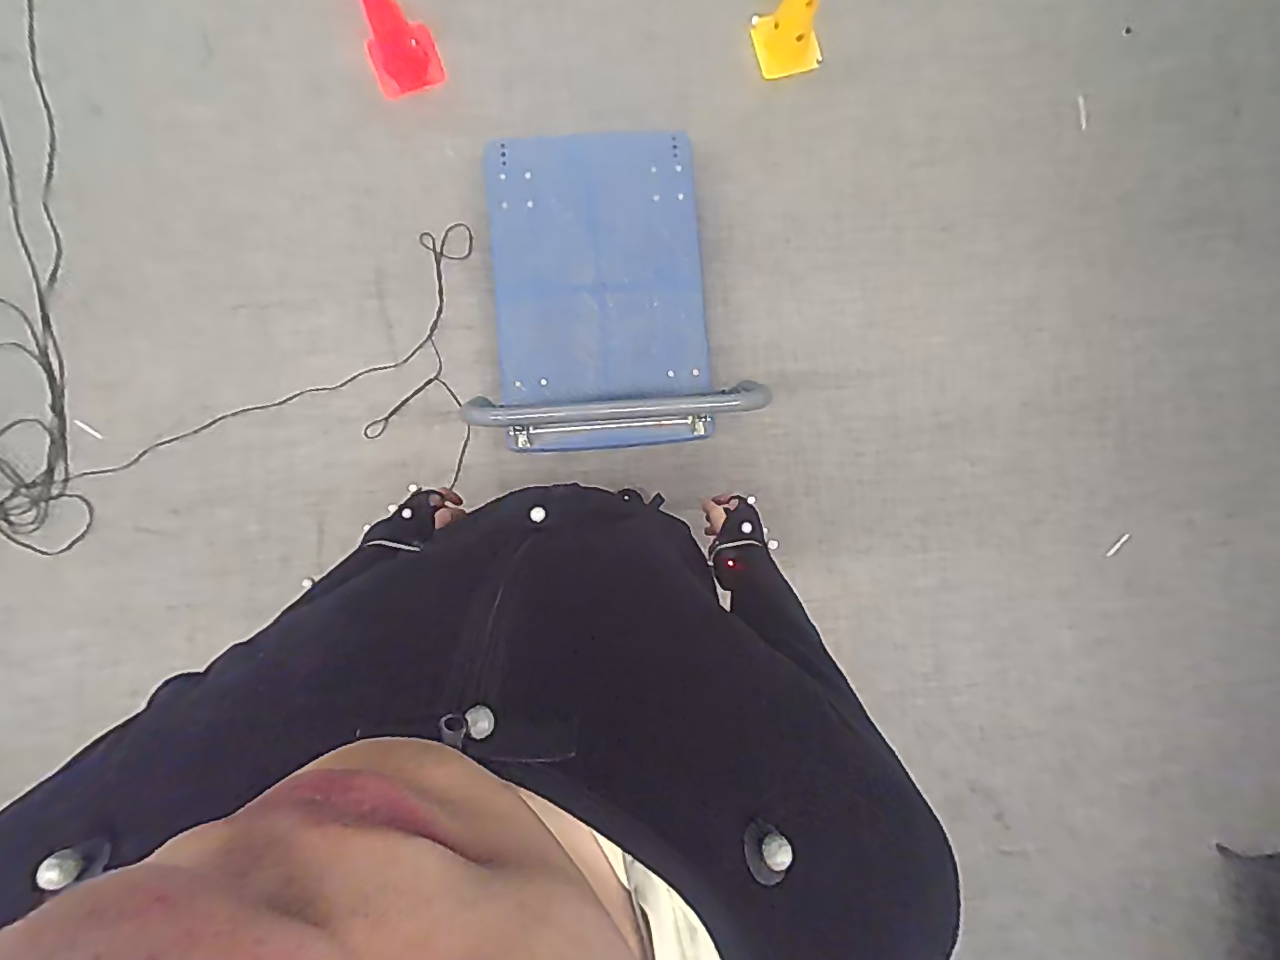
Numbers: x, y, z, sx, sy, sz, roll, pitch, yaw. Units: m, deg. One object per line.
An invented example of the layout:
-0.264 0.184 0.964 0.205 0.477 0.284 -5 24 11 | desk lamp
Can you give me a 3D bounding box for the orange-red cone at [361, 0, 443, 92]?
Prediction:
-0.707 -1.295 1.472 0.199 0.360 0.198 -19 89 -2 | orange-red cone
